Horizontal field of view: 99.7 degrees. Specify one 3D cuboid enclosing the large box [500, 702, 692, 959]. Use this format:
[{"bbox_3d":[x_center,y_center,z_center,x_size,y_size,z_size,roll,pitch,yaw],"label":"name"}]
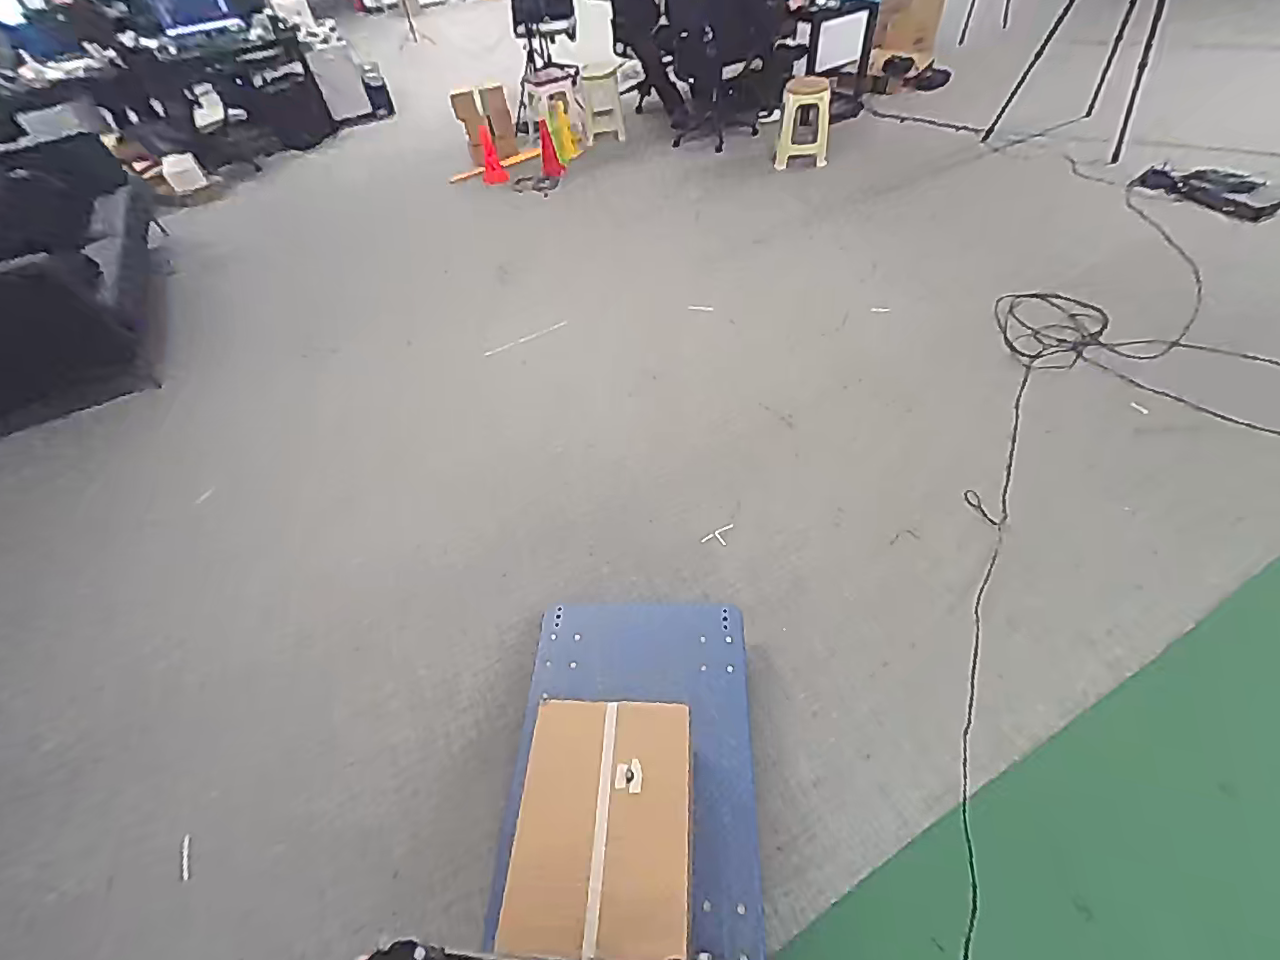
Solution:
[{"bbox_3d":[-0.055,0.718,1.111,0.320,0.320,0.408,0,49,7],"label":"large box"}]
